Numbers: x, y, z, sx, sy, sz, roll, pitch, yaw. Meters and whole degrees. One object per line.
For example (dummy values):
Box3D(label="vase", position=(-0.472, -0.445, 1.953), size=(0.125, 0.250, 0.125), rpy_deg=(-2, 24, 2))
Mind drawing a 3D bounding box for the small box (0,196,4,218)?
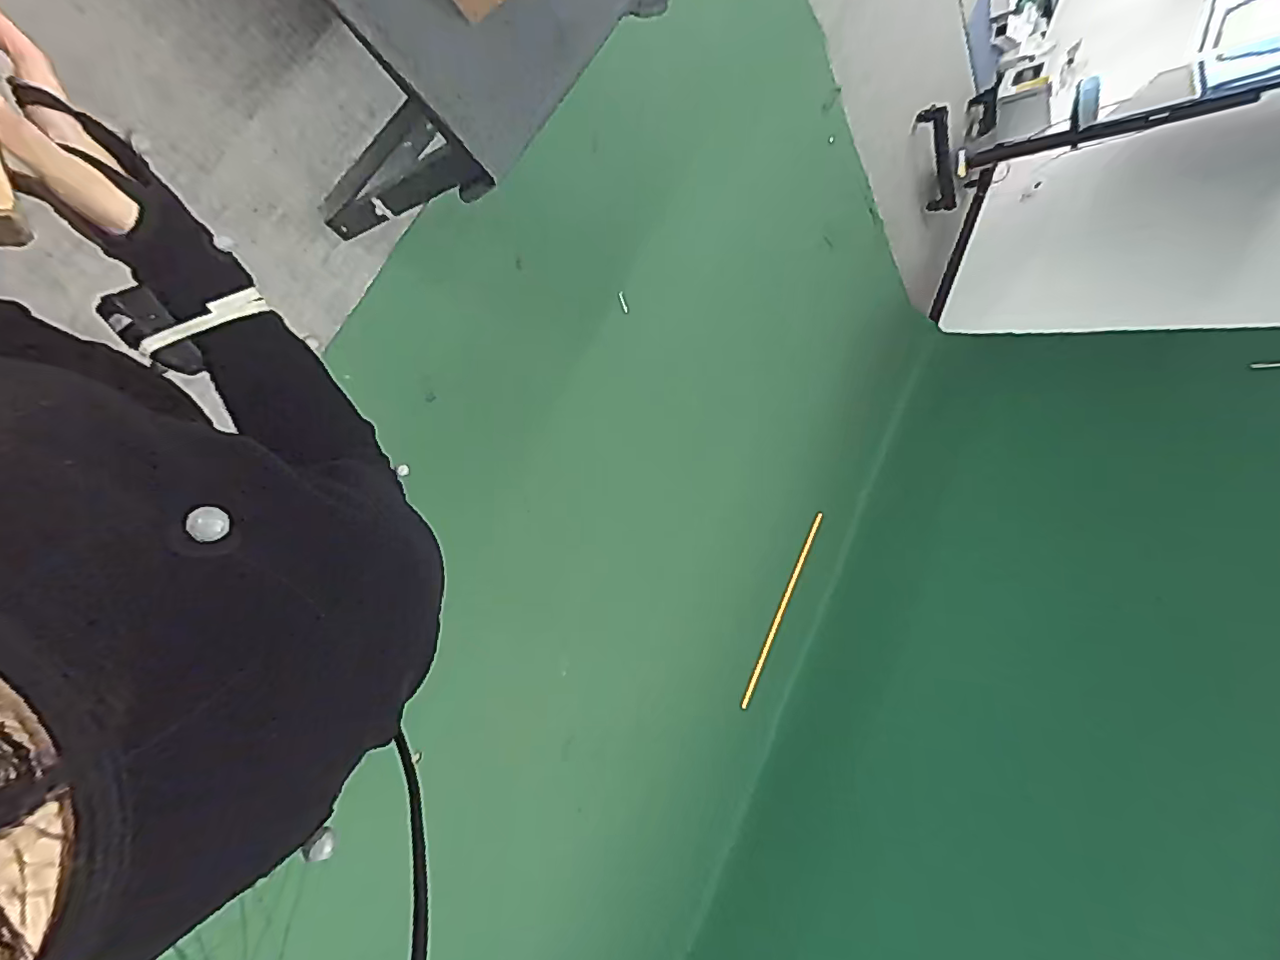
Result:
Box3D(label="small box", position=(-0.443, -0.222, 0.244), size=(0.168, 0.176, 0.179), rpy_deg=(-20, 117, -42))
